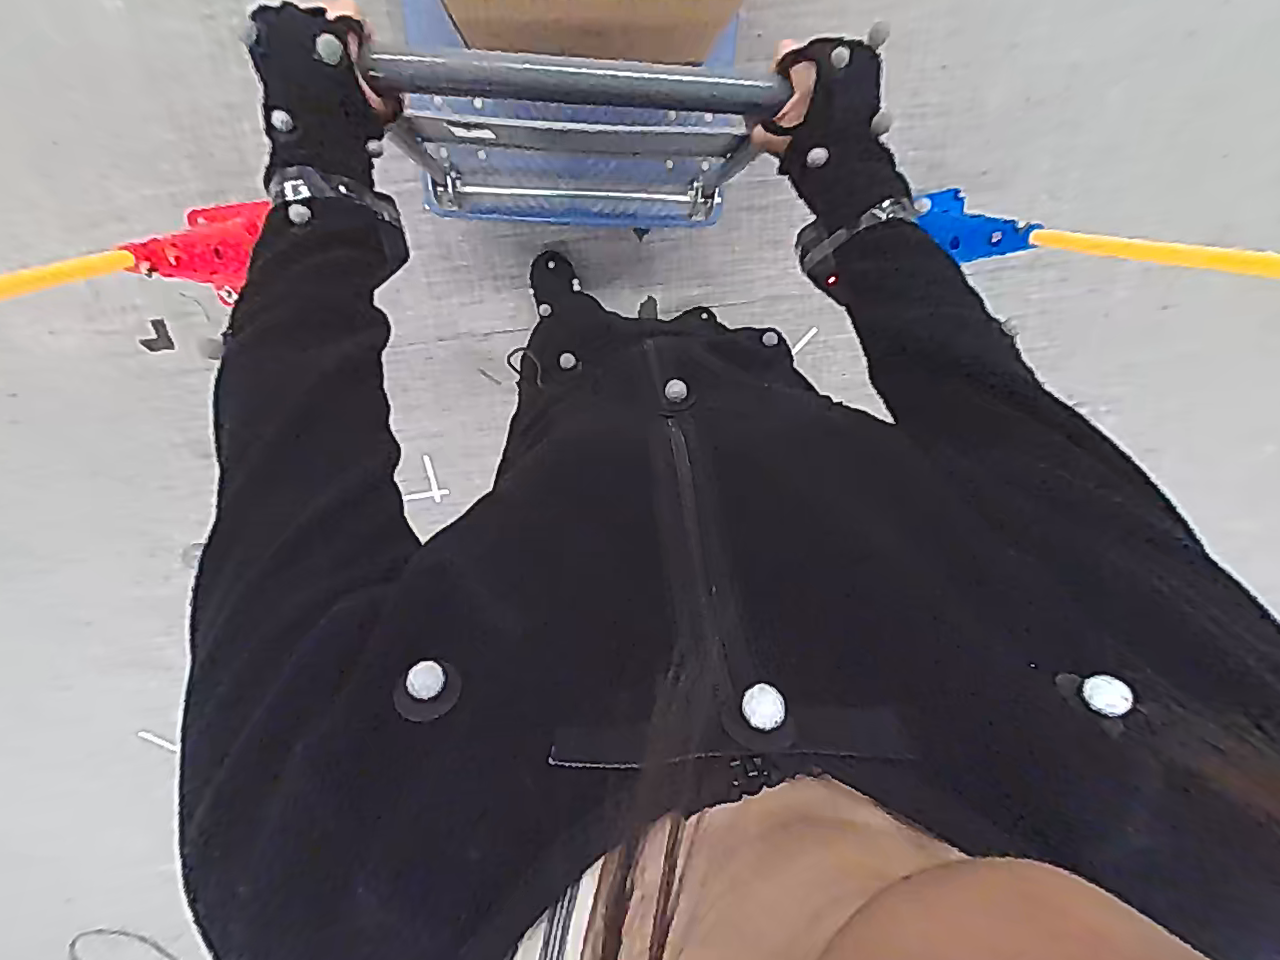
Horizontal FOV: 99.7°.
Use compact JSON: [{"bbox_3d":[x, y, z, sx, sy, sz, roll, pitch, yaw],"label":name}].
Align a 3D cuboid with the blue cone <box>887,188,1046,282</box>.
[{"bbox_3d":[0.709,-0.529,1.160,0.193,0.380,0.192,-11,113,-2],"label":"blue cone"}]
